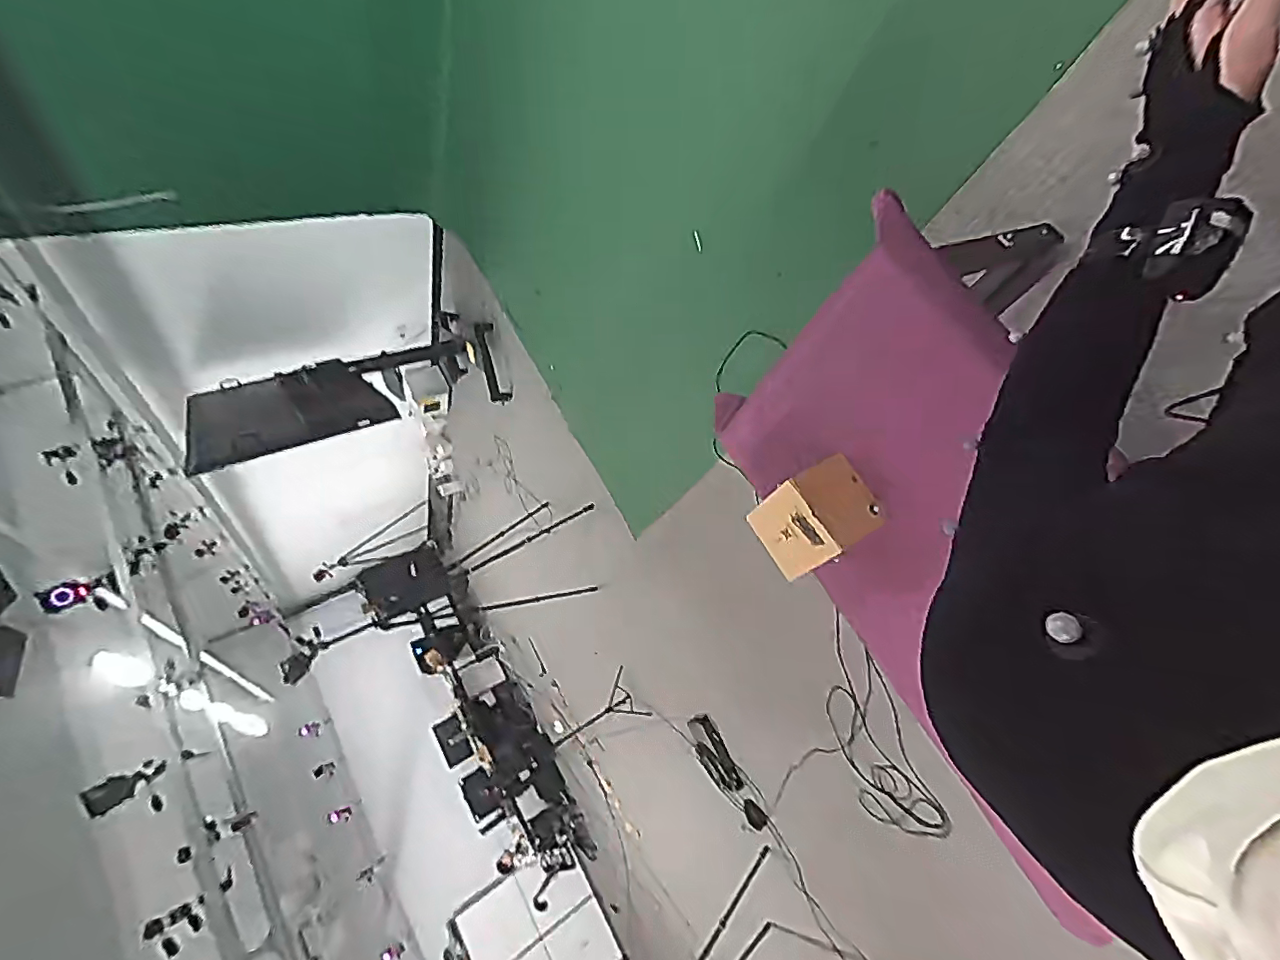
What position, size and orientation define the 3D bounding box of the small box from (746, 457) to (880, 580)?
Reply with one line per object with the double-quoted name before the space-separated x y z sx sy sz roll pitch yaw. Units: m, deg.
"small box" 0.360 0.076 1.112 0.168 0.176 0.179 58 149 16
